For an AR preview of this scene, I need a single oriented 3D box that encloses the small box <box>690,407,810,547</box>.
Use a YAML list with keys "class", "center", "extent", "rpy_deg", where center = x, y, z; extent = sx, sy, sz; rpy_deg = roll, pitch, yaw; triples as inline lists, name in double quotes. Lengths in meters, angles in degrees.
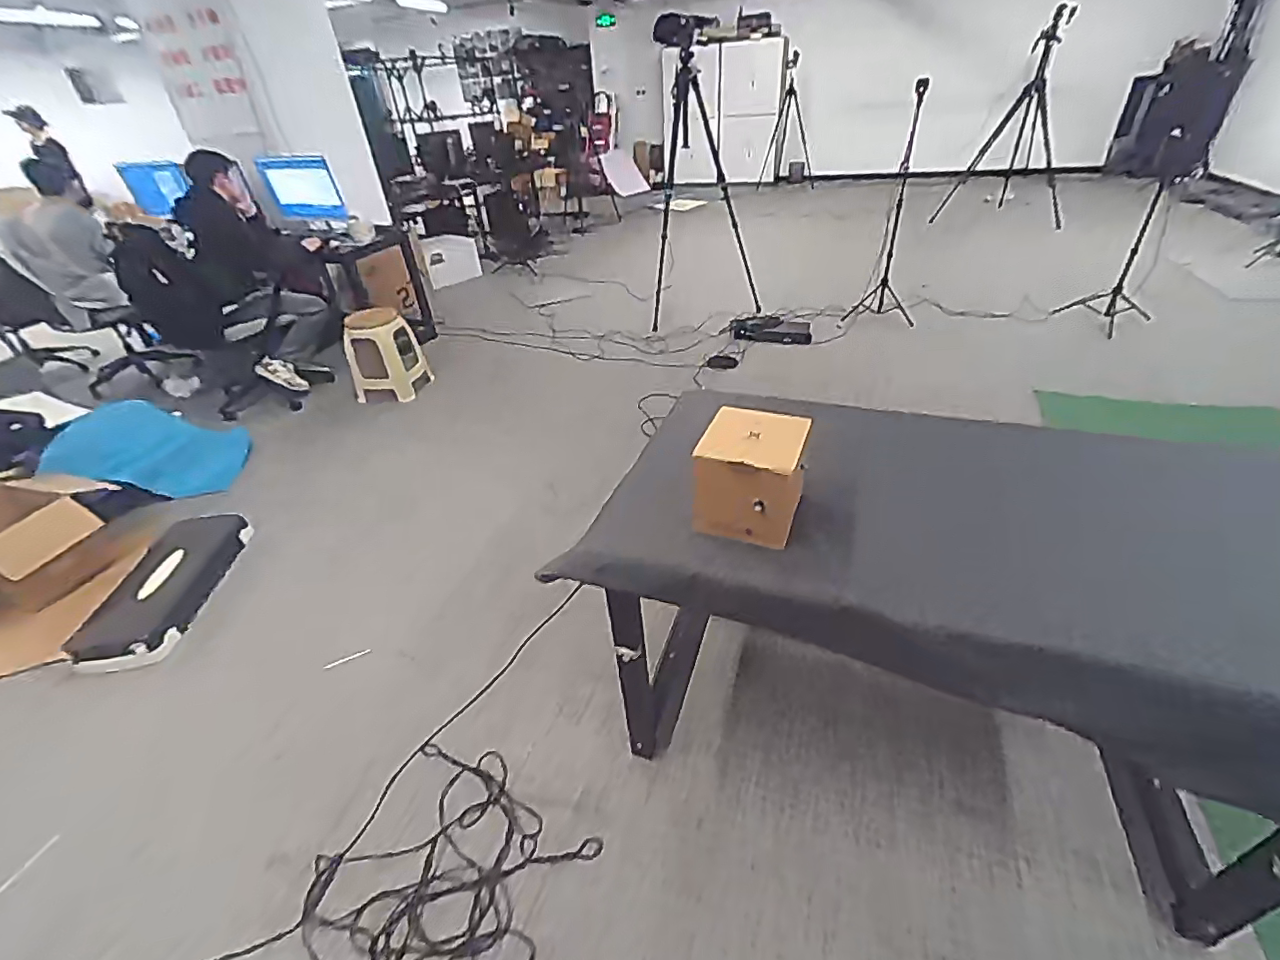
- class: "small box"
  center: [0.193, -0.007, 0.952]
  extent: [0.168, 0.176, 0.179]
  rpy_deg: [12, 37, 20]
